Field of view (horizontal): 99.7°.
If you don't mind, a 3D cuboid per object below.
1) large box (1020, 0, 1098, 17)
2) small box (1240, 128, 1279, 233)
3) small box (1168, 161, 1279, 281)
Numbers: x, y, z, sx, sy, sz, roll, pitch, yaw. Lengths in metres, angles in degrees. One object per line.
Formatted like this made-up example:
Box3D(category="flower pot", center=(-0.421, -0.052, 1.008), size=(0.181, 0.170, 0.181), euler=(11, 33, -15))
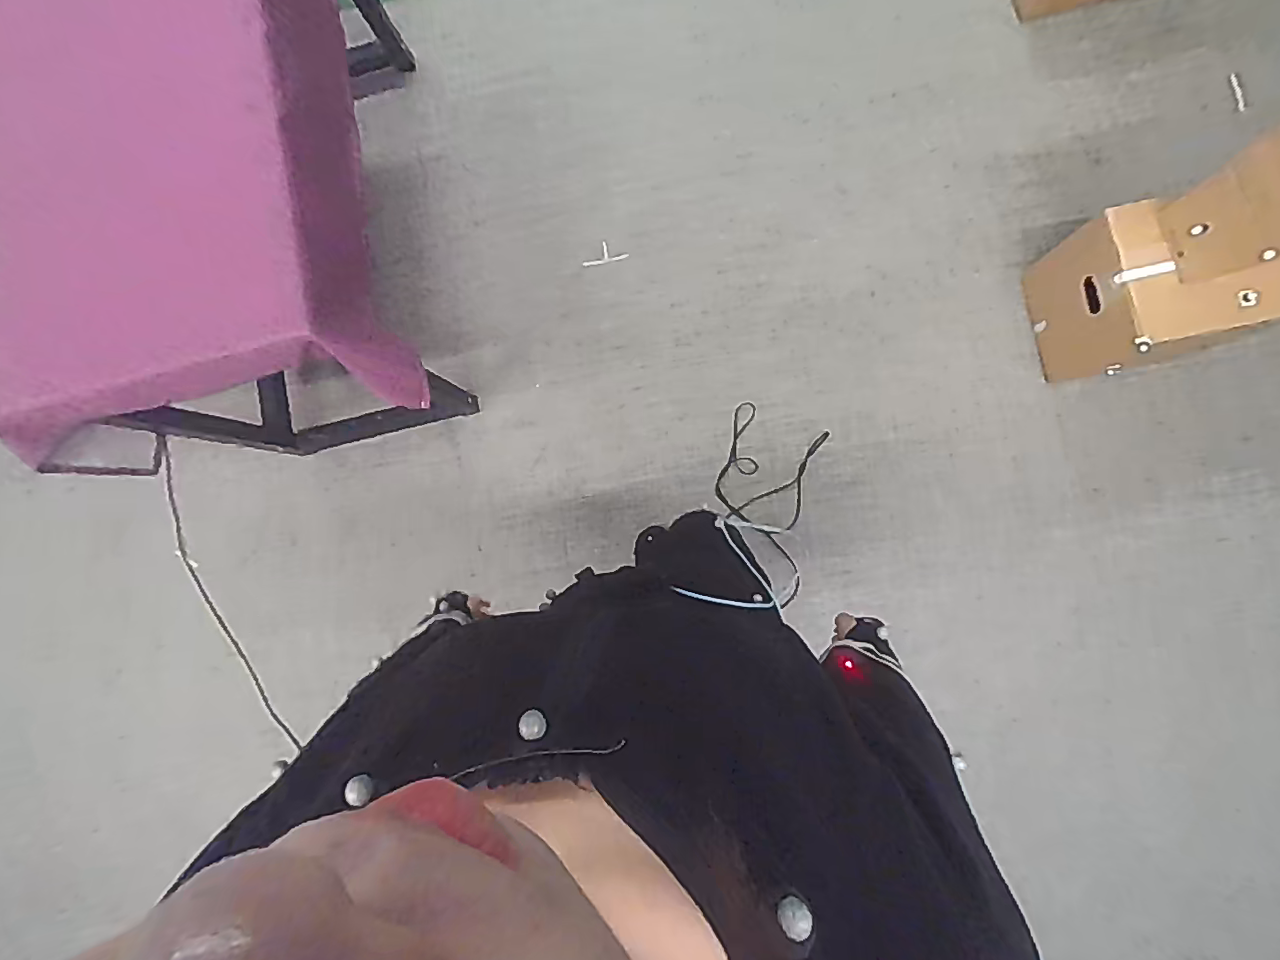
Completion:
Box3D(category="large box", center=(1.221, -1.479, 1.359), size=(0.408, 0.320, 0.320), euler=(-10, 84, 4))
Box3D(category="small box", center=(1.166, -0.527, 0.881), size=(0.168, 0.176, 0.179), euler=(-14, 83, 4))
Box3D(category="small box", center=(1.188, -0.511, 1.045), size=(0.179, 0.176, 0.168), euler=(-14, 83, 5))
